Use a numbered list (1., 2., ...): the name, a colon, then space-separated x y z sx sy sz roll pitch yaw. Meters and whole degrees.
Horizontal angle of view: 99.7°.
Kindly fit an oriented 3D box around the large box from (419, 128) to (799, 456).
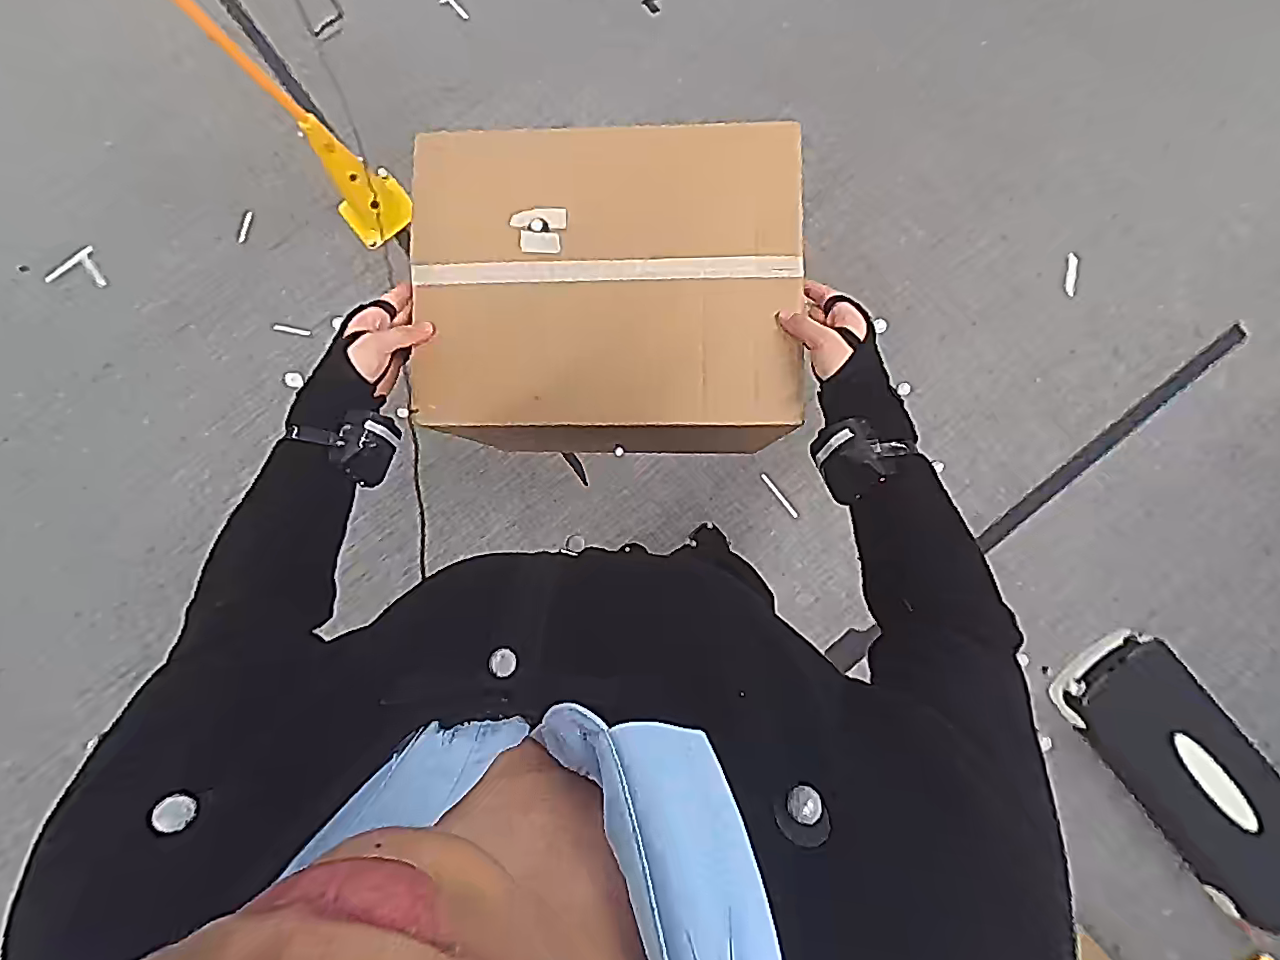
1. large box: -0.028 -0.203 0.720 0.408 0.320 0.320 -2 86 4
